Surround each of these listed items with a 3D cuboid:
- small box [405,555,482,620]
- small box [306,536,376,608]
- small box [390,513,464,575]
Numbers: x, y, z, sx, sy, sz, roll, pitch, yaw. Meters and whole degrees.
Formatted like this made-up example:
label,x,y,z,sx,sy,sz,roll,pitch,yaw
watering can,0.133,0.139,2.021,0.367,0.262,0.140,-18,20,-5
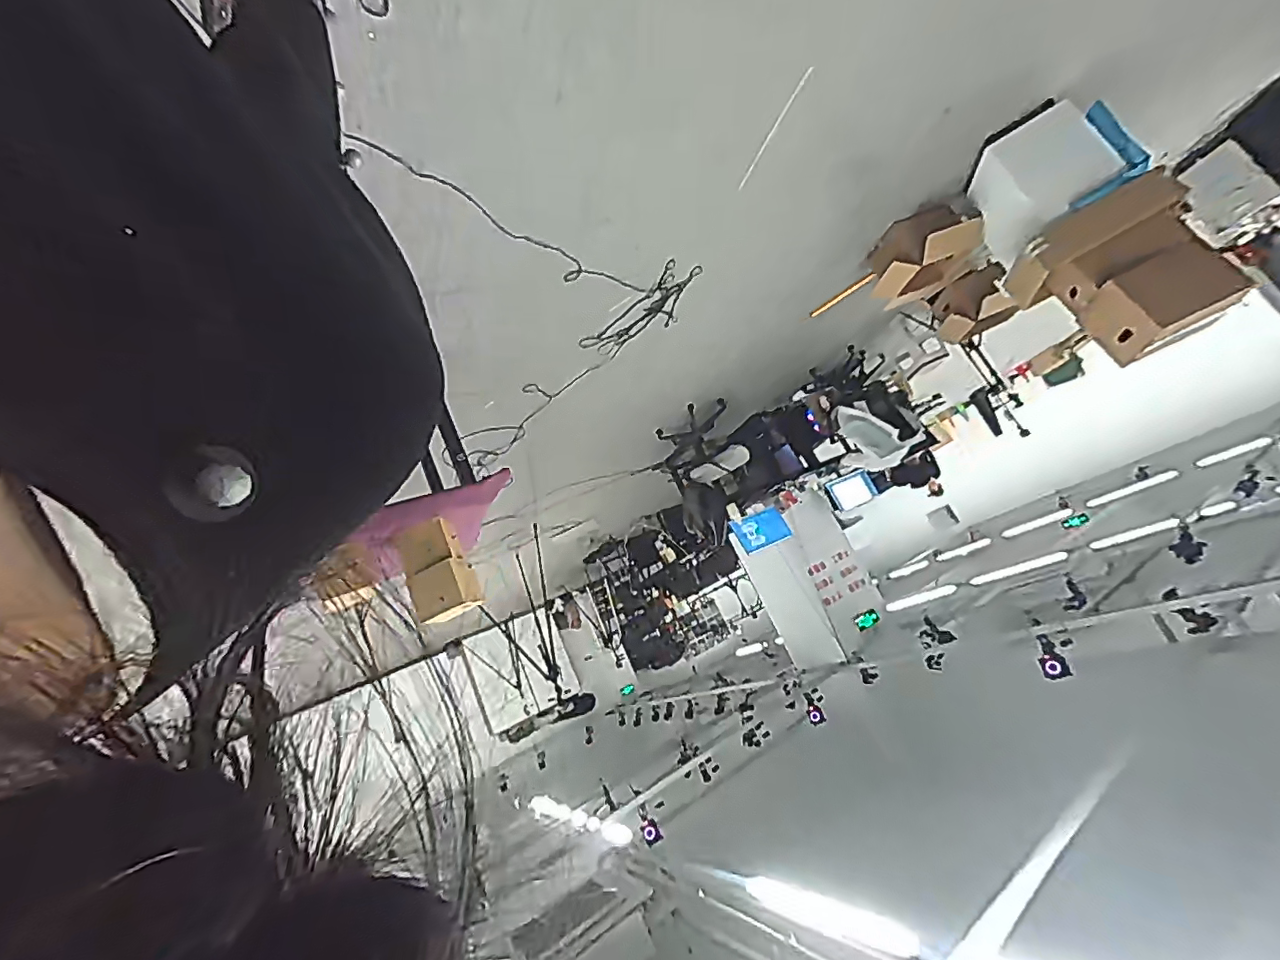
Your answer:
label,x,y,z,sx,sy,sz,roll,pitch,yaw
small box,-0.690,0.373,1.899,0.179,0.176,0.168,-26,166,4
small box,-0.995,0.304,1.800,0.168,0.176,0.179,-18,165,-33
small box,-0.768,0.236,1.950,0.179,0.176,0.168,-24,166,-8
